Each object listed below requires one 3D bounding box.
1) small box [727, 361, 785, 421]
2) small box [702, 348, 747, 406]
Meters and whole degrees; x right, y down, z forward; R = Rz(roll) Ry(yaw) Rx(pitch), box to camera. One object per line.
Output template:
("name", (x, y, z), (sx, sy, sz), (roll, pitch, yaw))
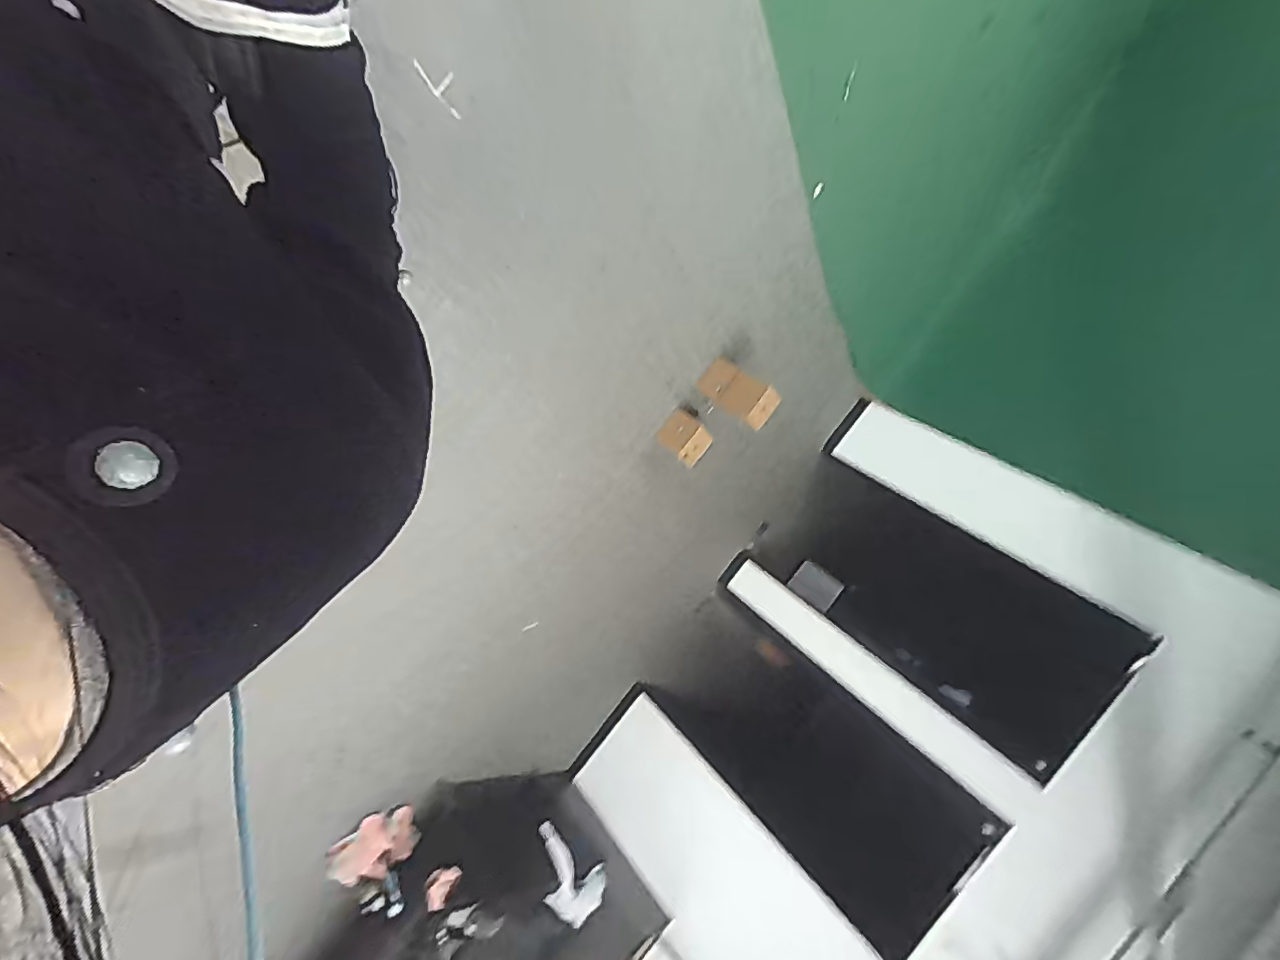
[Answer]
("small box", (0.508, -0.398, 2.403), (0.179, 0.176, 0.168), (-55, 145, 3))
("small box", (0.410, -0.478, 2.506), (0.179, 0.176, 0.168), (-55, 145, 2))
